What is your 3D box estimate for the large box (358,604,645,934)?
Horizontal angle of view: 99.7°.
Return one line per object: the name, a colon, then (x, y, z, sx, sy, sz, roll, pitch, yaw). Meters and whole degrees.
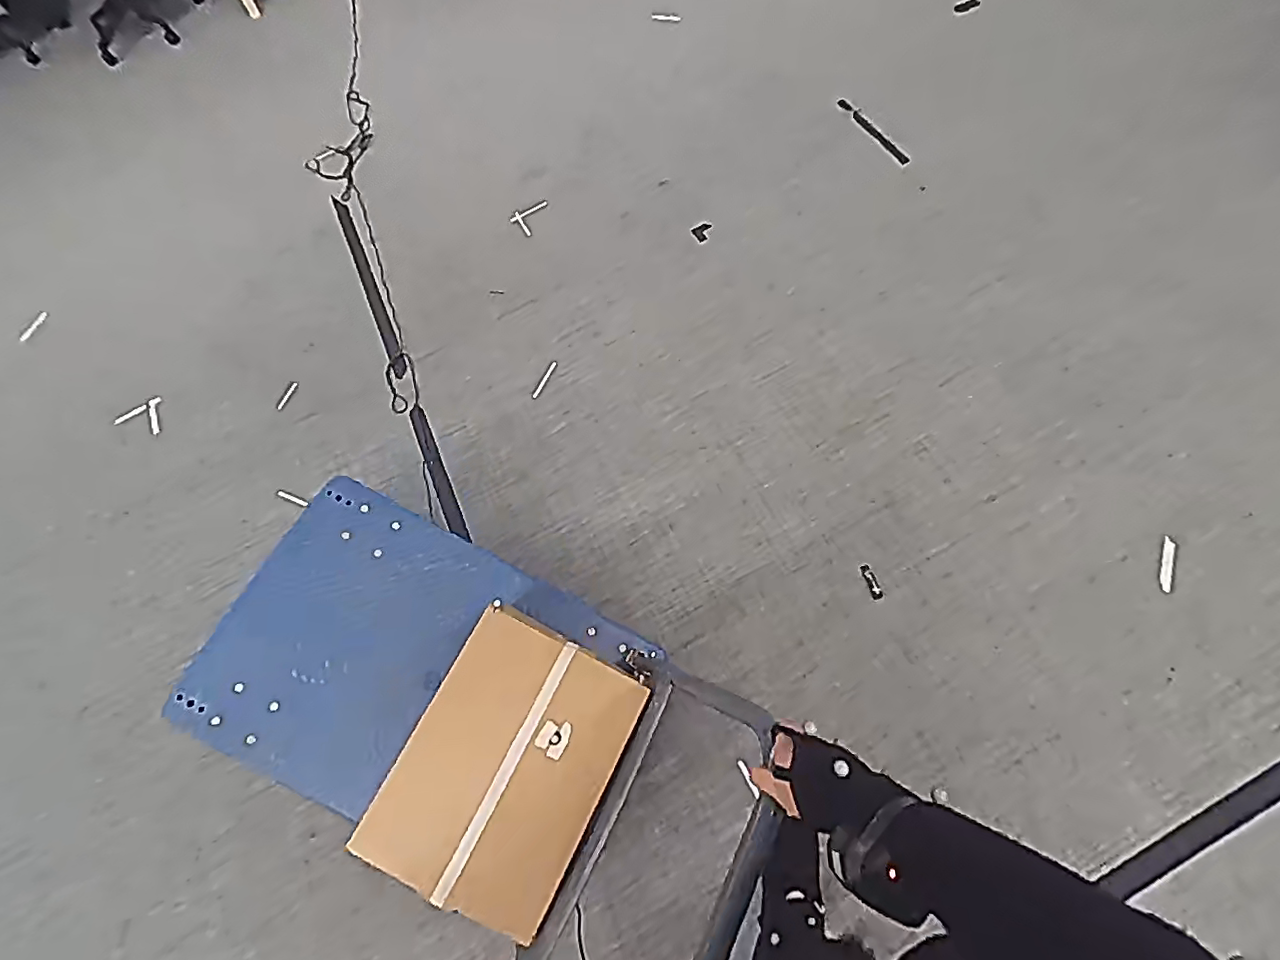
large box: (-0.229, 0.489, 1.010, 0.320, 0.320, 0.408, 28, 72, -1)
